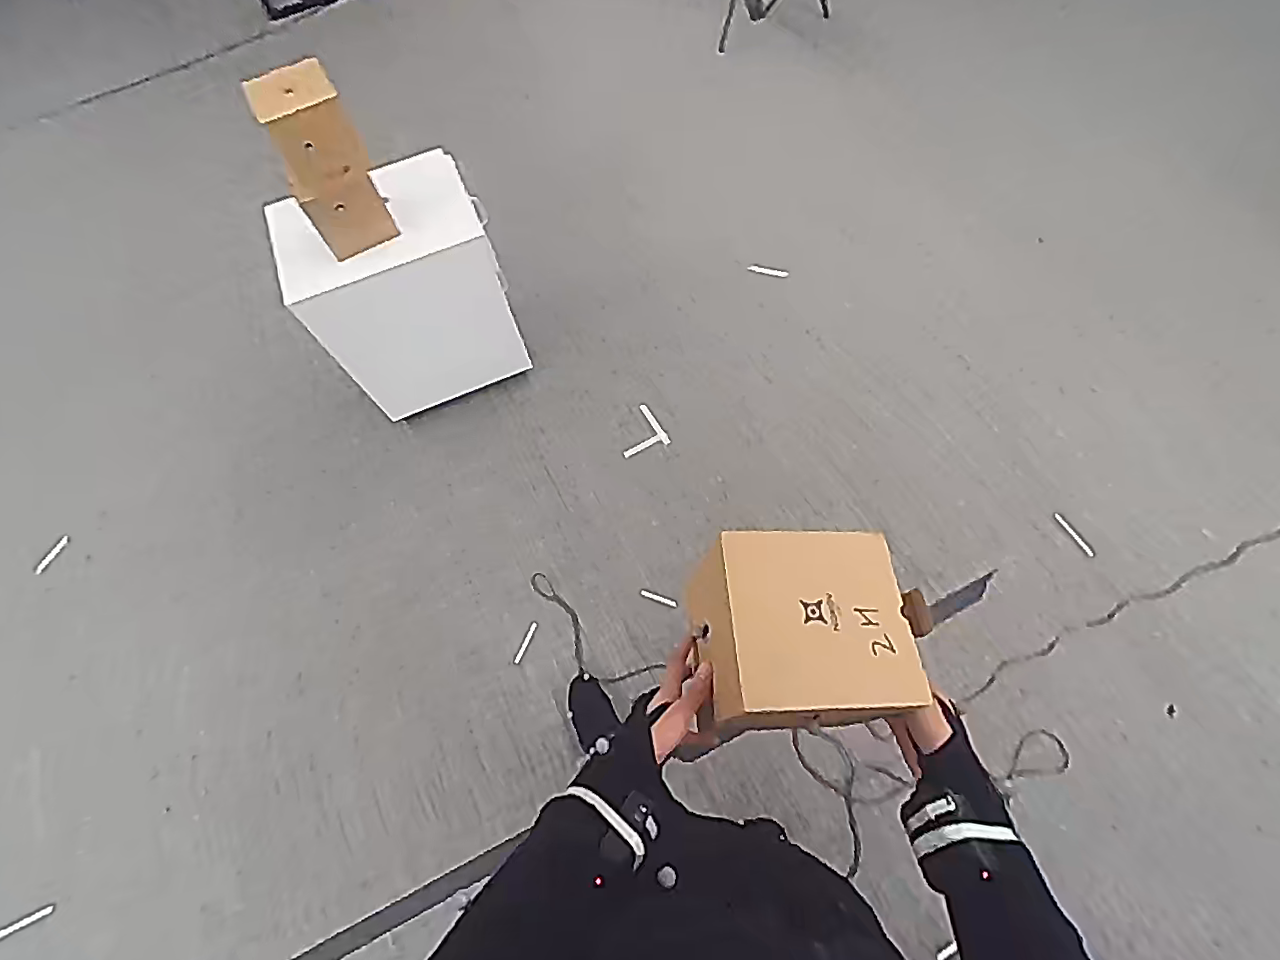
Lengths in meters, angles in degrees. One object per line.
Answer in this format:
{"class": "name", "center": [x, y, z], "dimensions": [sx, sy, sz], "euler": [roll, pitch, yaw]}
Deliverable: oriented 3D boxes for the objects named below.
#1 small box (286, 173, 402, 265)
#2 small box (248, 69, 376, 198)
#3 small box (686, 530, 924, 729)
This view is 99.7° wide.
{"class": "small box", "center": [-0.734, -0.675, 1.354], "dimensions": [0.179, 0.176, 0.168], "euler": [-30, 67, -11]}
{"class": "small box", "center": [-0.729, -0.769, 1.218], "dimensions": [0.168, 0.176, 0.179], "euler": [-29, 66, -10]}
{"class": "small box", "center": [0.150, 0.163, 0.569], "dimensions": [0.179, 0.176, 0.168], "euler": [1, 60, -9]}
